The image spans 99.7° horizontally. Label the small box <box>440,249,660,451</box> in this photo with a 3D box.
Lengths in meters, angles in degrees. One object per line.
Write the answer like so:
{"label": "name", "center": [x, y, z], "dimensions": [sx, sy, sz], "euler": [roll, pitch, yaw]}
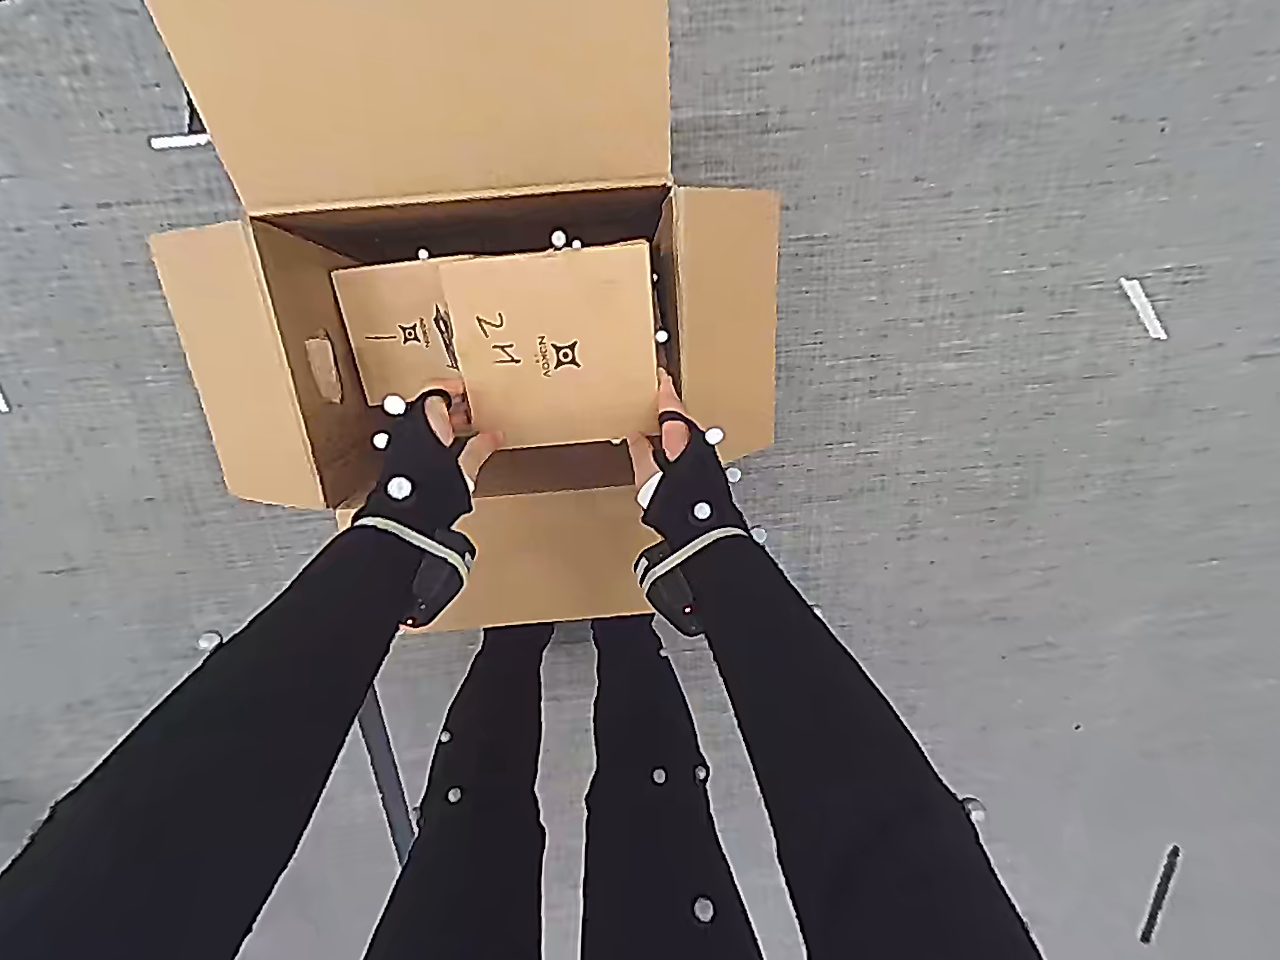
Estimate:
{"label": "small box", "center": [-0.076, -0.139, 0.547], "dimensions": [0.179, 0.176, 0.168], "euler": [-4, 113, 1]}
